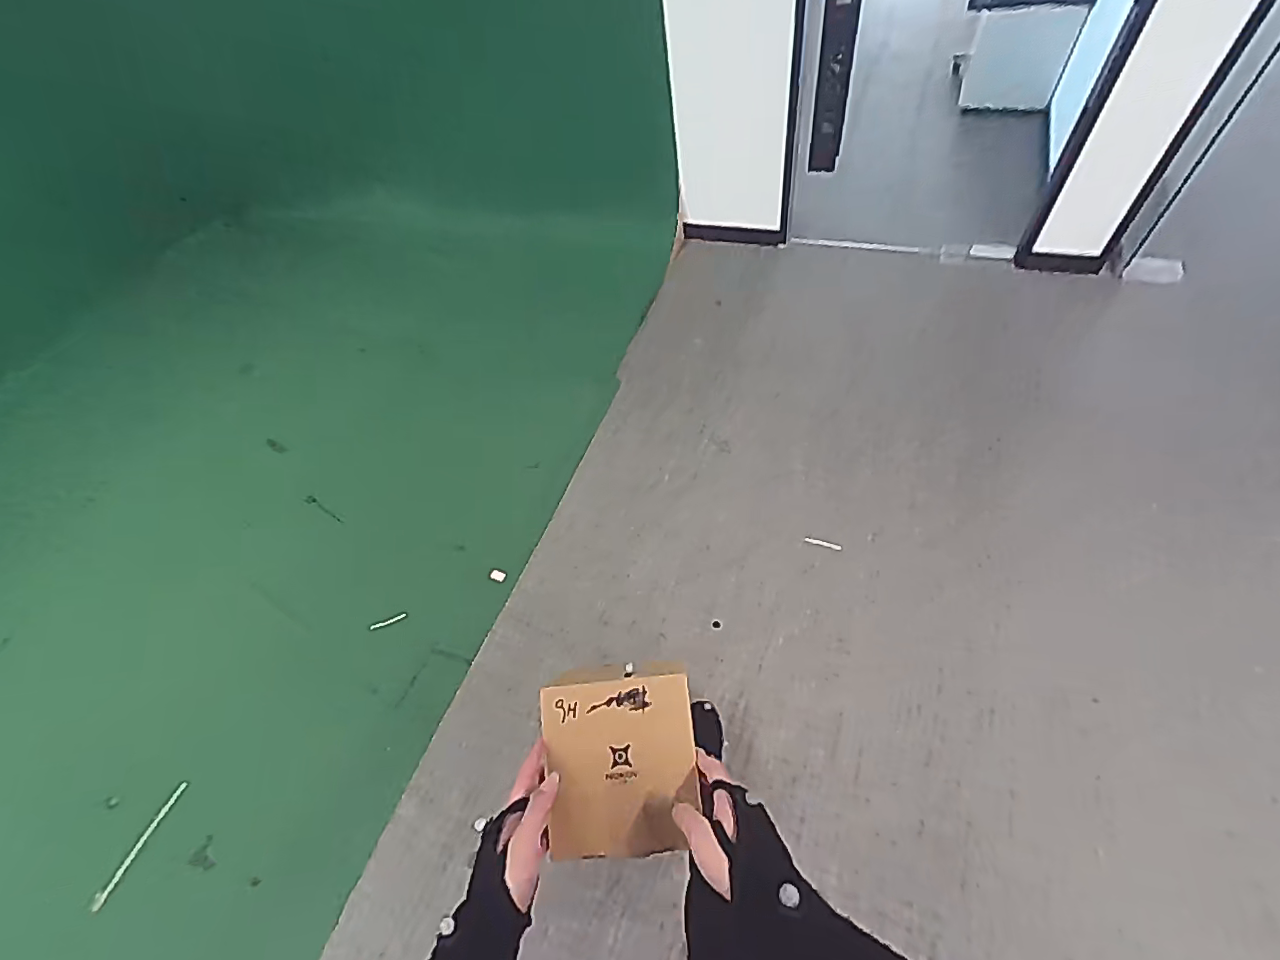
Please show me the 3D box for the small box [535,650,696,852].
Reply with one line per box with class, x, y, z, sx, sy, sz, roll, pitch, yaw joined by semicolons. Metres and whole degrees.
small box;-0.024;0.312;0.655;0.168;0.176;0.179;-6;78;1
